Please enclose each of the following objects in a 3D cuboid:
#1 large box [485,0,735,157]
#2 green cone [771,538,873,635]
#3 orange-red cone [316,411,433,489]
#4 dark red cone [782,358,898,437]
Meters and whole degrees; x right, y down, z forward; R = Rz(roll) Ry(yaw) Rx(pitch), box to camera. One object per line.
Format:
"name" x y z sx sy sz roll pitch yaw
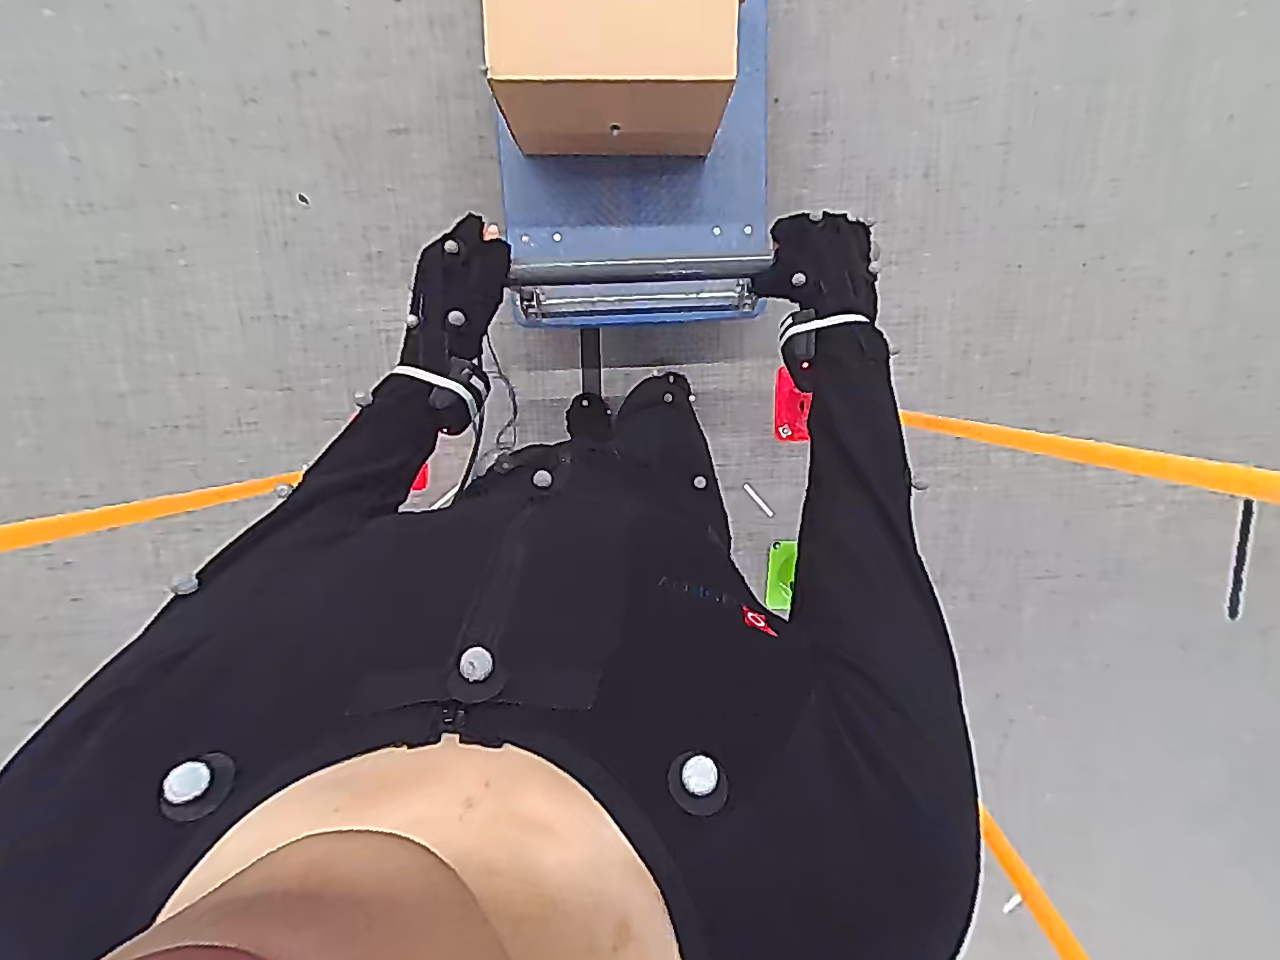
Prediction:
"large box" -0.048 -0.820 0.995 0.408 0.320 0.320 -1 101 0
"green cone" 0.476 0.291 1.348 0.202 0.368 0.200 1 100 -2
"orange-red cone" -0.649 -0.051 1.272 0.198 0.360 0.199 5 99 -3
"dark red cone" 0.477 -0.184 1.245 0.201 0.394 0.202 -3 101 -2
